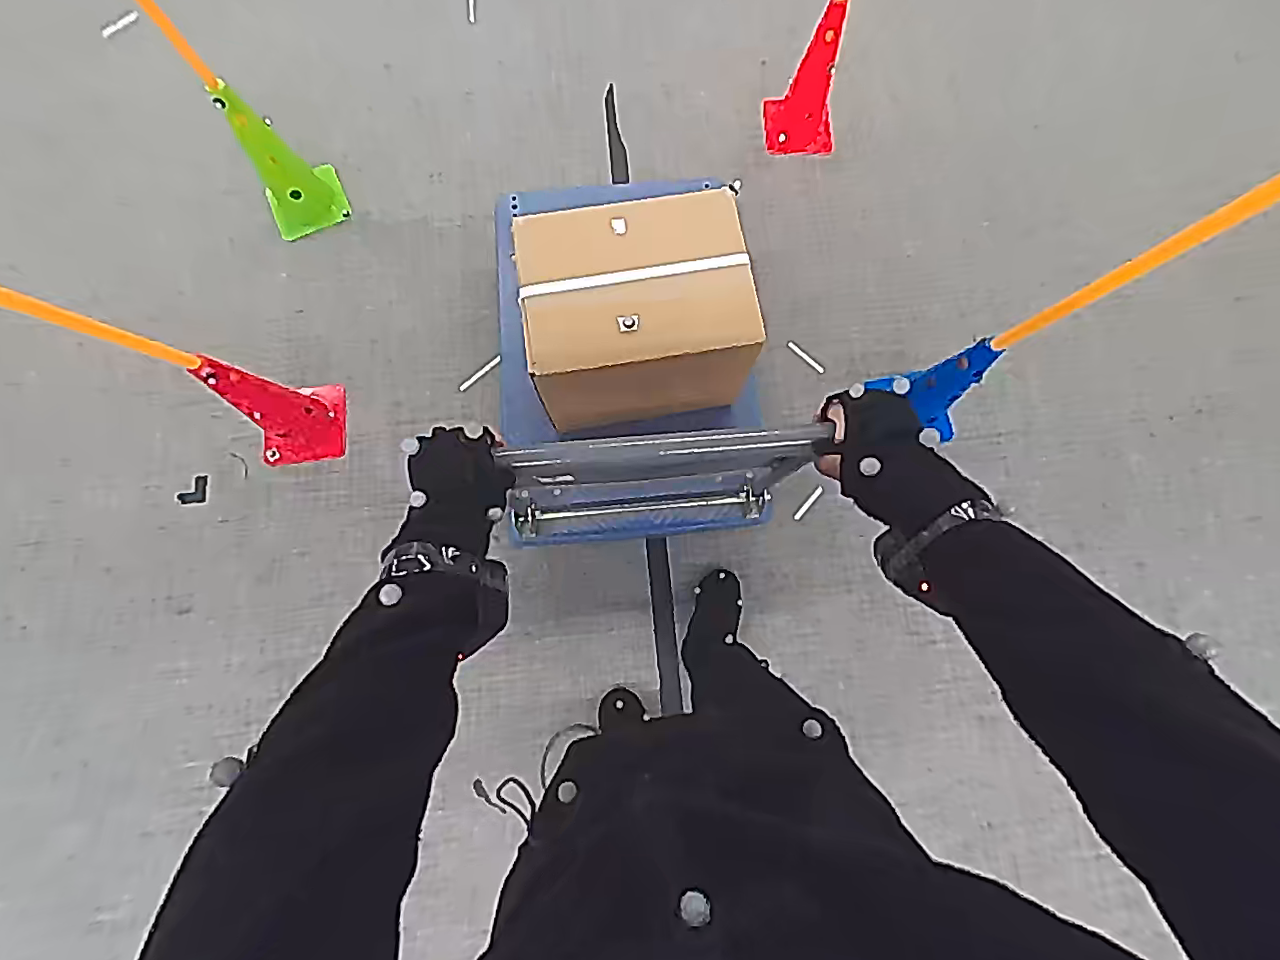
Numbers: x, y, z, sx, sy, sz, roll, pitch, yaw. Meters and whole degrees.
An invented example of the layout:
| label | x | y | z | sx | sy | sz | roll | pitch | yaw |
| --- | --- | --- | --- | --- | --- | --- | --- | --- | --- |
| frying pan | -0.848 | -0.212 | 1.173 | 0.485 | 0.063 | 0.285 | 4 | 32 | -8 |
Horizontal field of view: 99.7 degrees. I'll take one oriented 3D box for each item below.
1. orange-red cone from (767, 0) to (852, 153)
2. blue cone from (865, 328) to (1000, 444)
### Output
| label | x | y | z | sx | sy | sz | roll | pitch | yaw |
| --- | --- | --- | --- | --- | --- | --- | --- | --- | --- |
| orange-red cone | 0.480 | -1.094 | 1.438 | 0.199 | 0.360 | 0.198 | 1 | 77 | -1 |
| blue cone | 0.699 | -0.230 | 1.248 | 0.193 | 0.380 | 0.192 | -9 | 76 | -3 |
